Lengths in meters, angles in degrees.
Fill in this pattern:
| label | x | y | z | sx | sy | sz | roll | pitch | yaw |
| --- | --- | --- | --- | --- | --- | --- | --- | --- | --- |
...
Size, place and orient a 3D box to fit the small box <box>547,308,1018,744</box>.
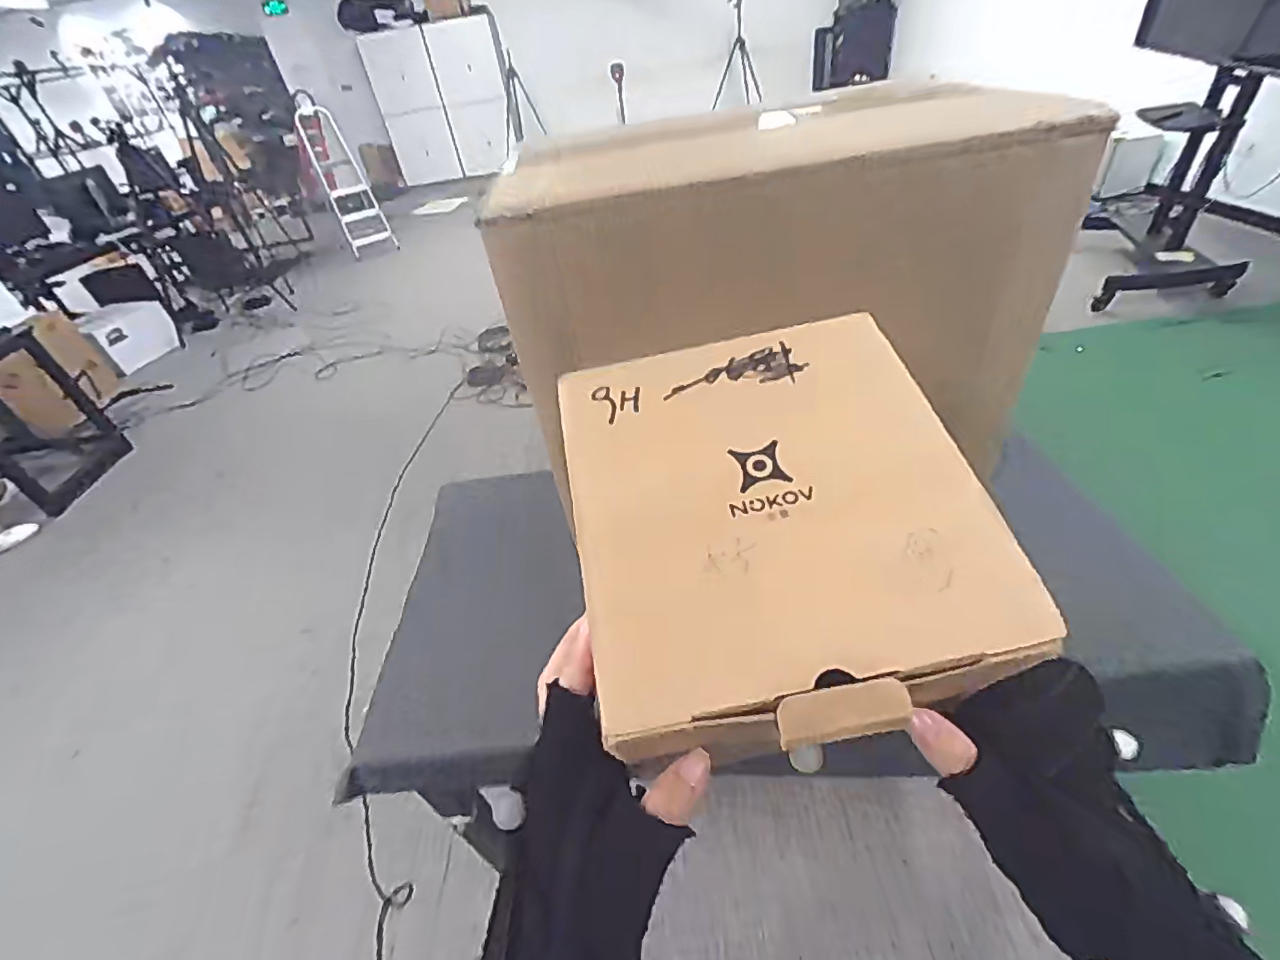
| label | x | y | z | sx | sy | sz | roll | pitch | yaw |
| --- | --- | --- | --- | --- | --- | --- | --- | --- | --- |
| small box | 0.052 | 0.040 | 0.302 | 0.168 | 0.176 | 0.179 | -10 | 58 | 0 |
